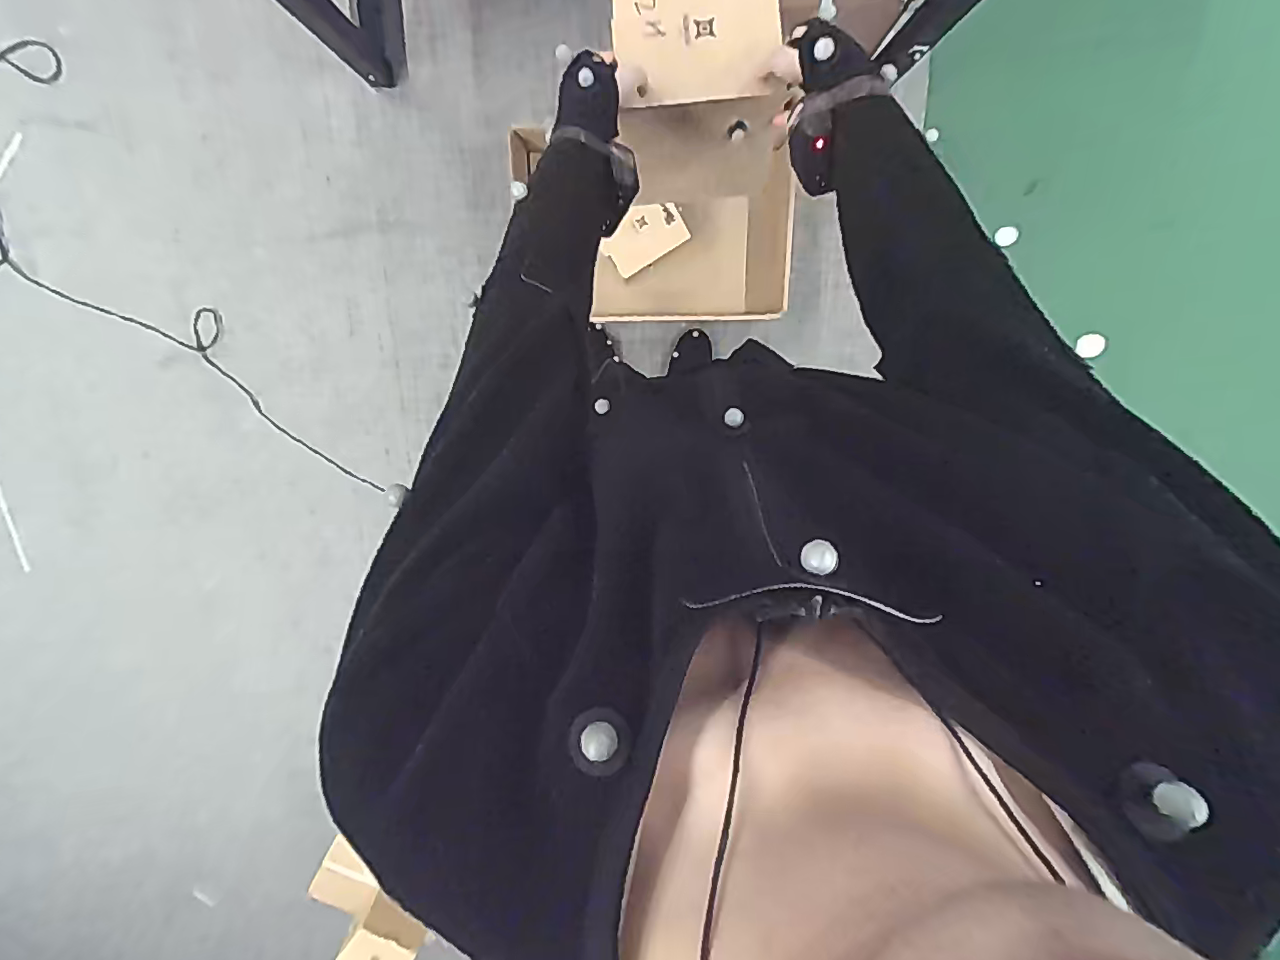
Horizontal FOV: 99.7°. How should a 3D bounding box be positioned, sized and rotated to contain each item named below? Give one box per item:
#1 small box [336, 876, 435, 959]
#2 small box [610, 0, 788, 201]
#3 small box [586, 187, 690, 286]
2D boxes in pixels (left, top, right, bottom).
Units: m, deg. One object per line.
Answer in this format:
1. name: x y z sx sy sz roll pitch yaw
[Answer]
1. small box: -0.685 1.230 1.459 0.168 0.176 0.179 33 104 -8
2. small box: 0.062 -0.453 0.629 0.179 0.176 0.168 -4 84 3
3. small box: -0.001 -0.561 1.232 0.179 0.176 0.168 -29 103 8
